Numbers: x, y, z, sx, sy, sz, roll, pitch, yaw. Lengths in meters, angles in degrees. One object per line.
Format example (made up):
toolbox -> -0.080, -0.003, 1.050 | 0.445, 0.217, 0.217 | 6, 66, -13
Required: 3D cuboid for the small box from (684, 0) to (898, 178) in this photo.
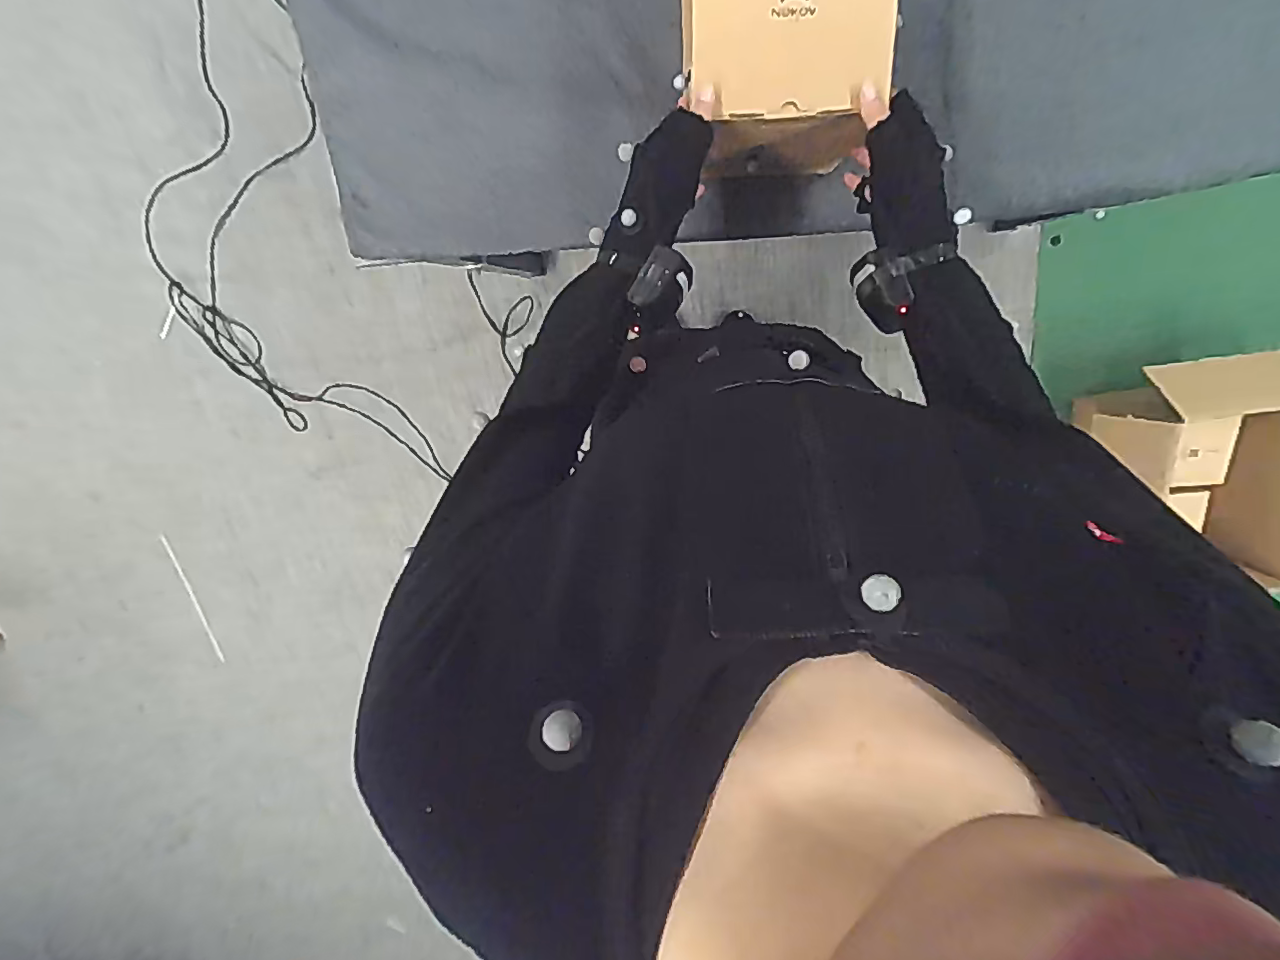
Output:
small box -> 0.128, -0.409, 0.514 | 0.168, 0.176, 0.179 | -1, 104, 2
